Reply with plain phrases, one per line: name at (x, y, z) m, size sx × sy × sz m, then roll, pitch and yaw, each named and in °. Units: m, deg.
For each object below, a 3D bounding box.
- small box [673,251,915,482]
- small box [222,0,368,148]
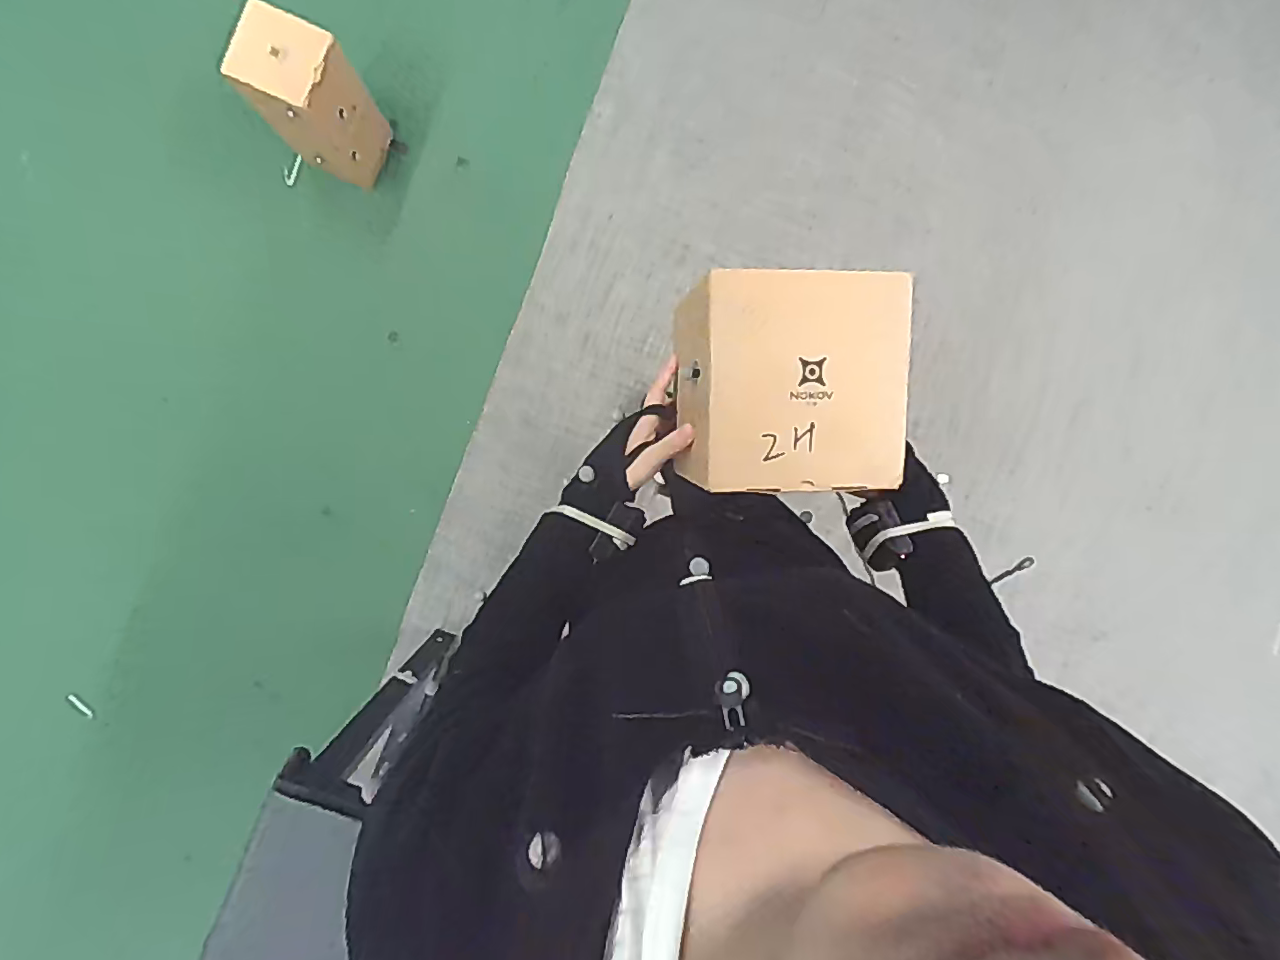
small box at (0.124, -0.093, 0.499) m, size 0.168 × 0.176 × 0.179 m, roll -1°, pitch 97°, yaw -6°
small box at (-0.728, -0.861, 1.161) m, size 0.179 × 0.176 × 0.168 m, roll 22°, pitch 89°, yaw -4°
